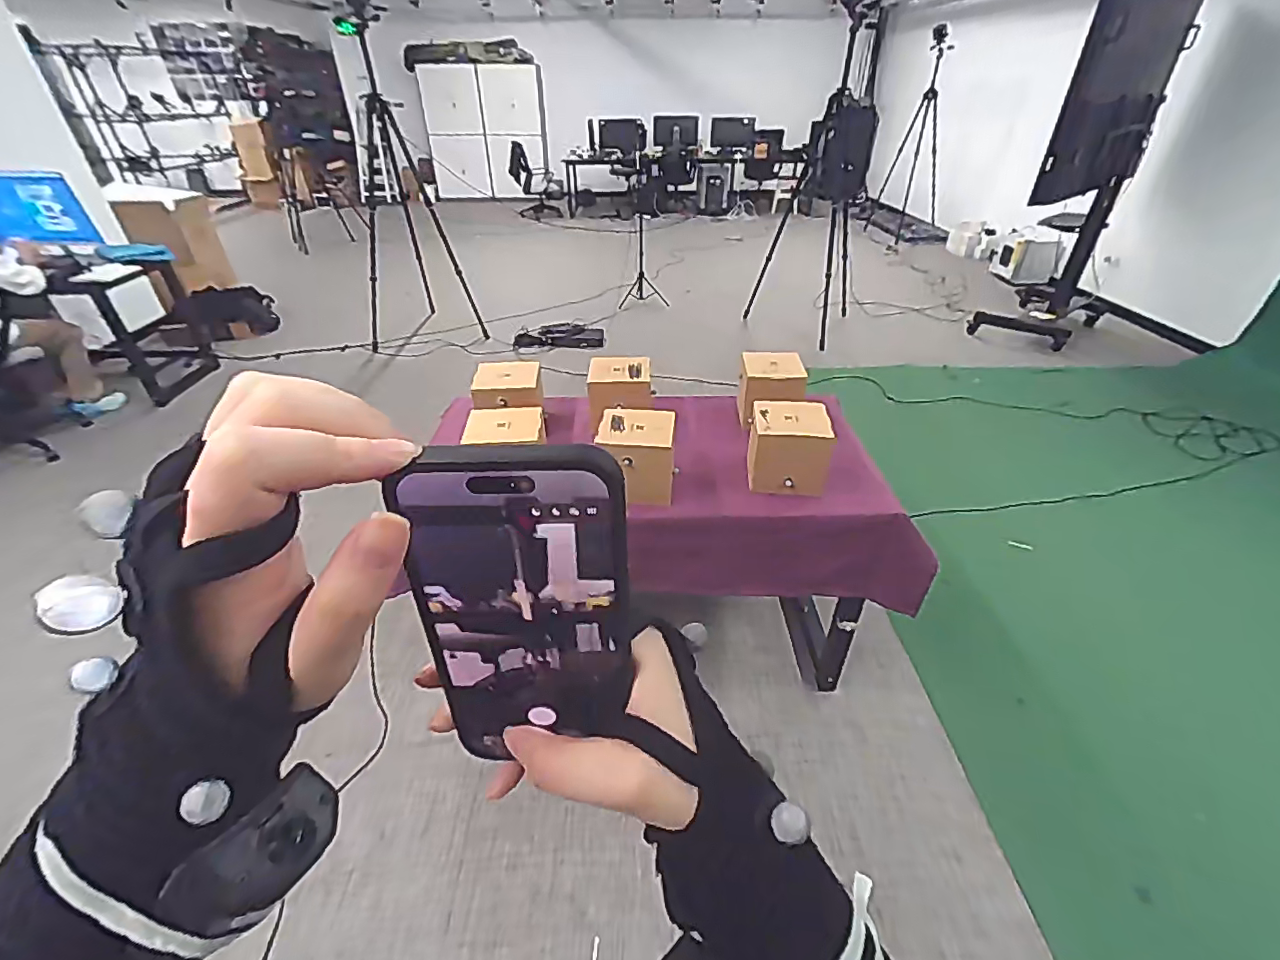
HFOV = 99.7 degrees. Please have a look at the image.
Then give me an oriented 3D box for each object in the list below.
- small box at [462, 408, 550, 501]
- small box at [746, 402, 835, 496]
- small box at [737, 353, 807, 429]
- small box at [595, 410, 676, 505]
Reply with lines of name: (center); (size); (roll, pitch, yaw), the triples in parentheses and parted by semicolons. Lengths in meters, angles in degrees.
small box: (-0.319, -0.061, 1.321); (0.179, 0.176, 0.168); (-3, 35, -5)
small box: (0.363, -0.076, 1.336); (0.179, 0.176, 0.168); (4, 36, 6)
small box: (0.379, -0.259, 1.590); (0.168, 0.176, 0.179); (1, 37, 3)
small box: (-0.006, -0.055, 1.309); (0.179, 0.176, 0.168); (4, 36, 4)
